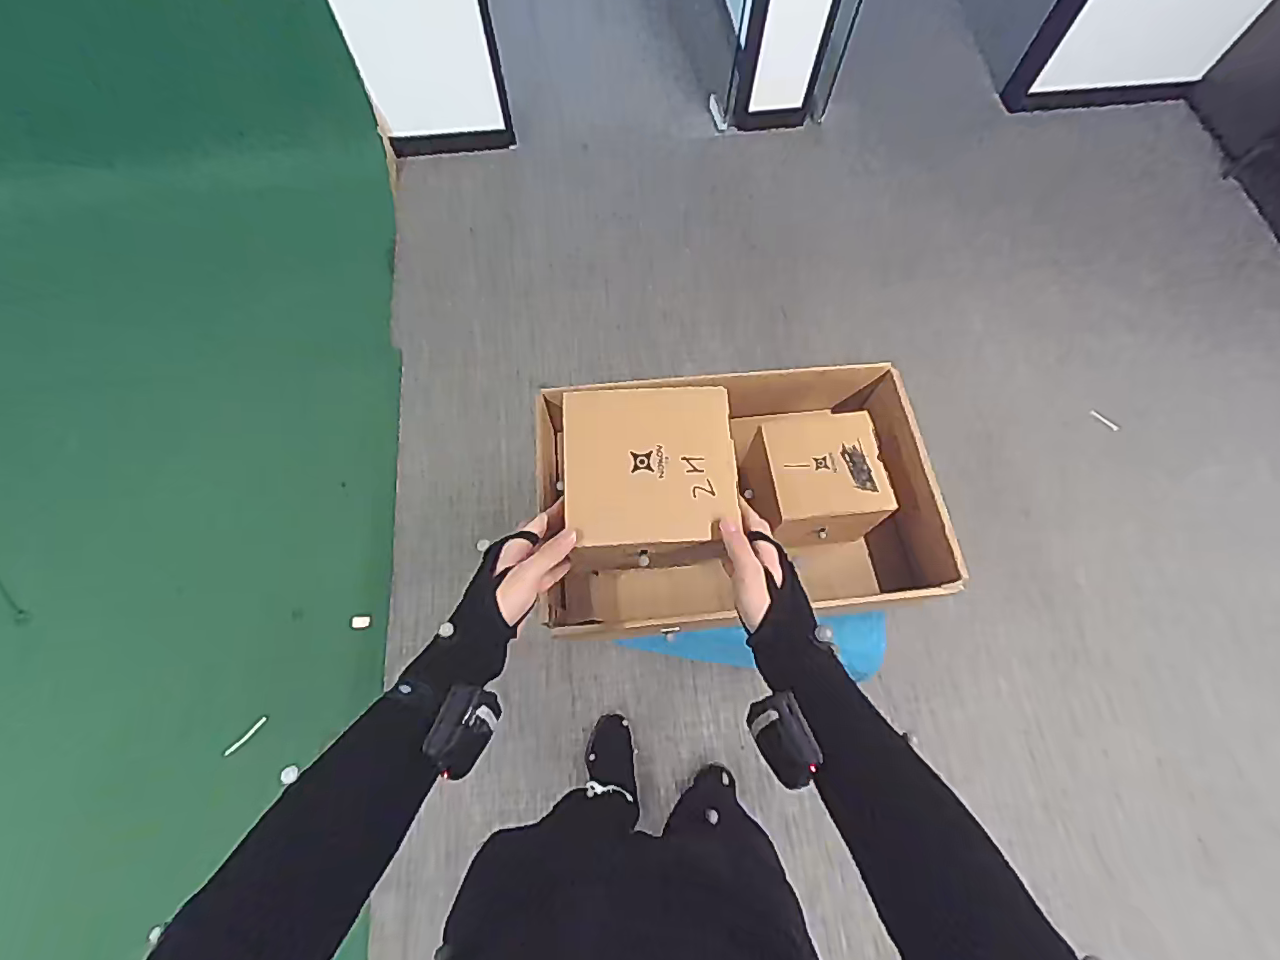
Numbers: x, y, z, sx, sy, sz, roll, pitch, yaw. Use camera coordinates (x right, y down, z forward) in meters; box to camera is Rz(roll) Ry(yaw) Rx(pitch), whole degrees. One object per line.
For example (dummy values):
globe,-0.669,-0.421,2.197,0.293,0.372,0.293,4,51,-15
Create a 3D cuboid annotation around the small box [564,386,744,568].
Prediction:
small box,0.009,0.006,0.620,0.179,0.176,0.168,-3,73,-3
